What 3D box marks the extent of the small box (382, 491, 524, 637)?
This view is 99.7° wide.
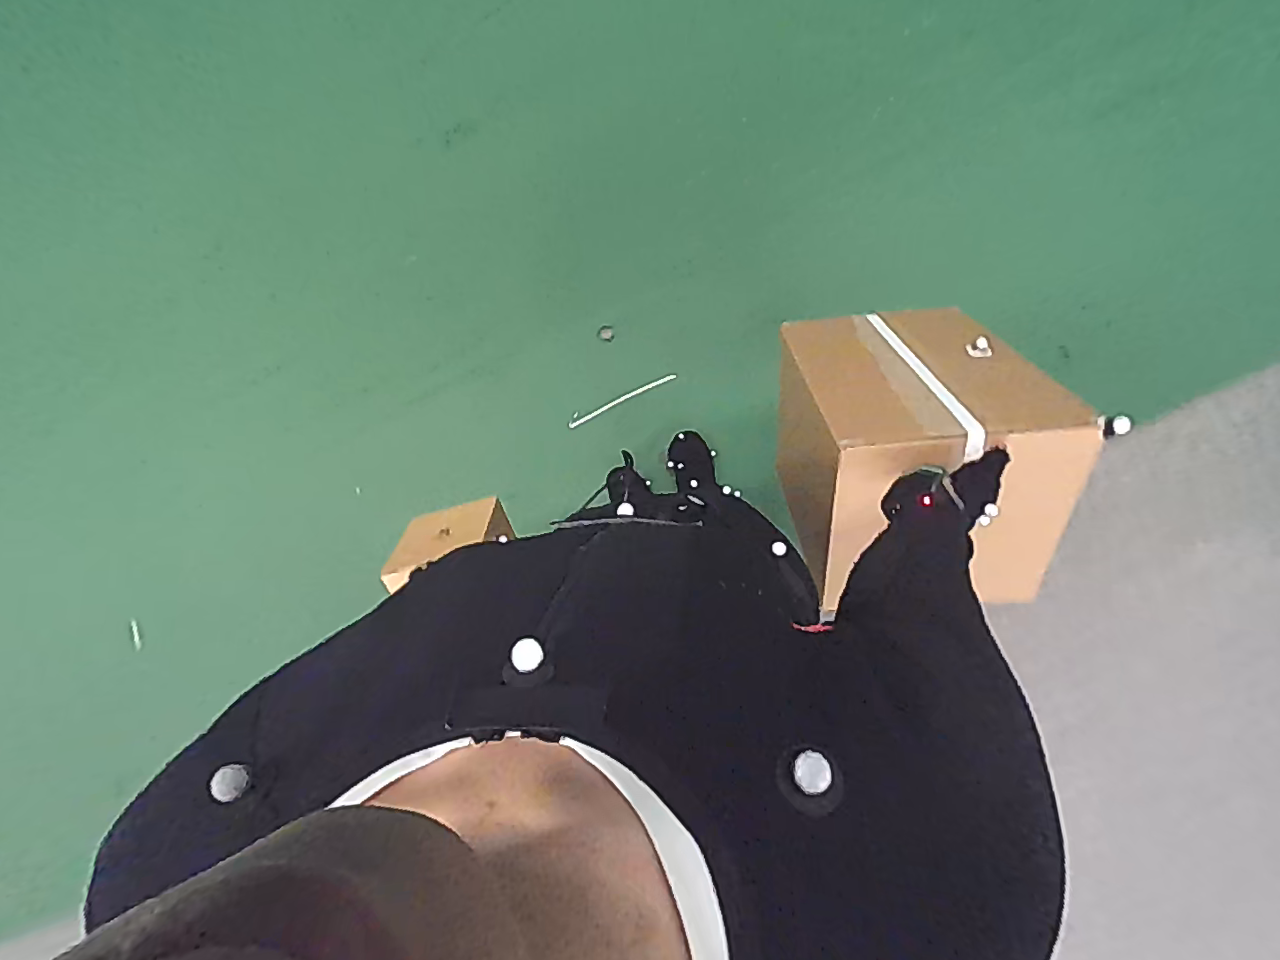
[{"bbox_3d":[-0.316,0.147,0.958,0.168,0.179,0.176,-14,118,3],"label":"small box"}]
